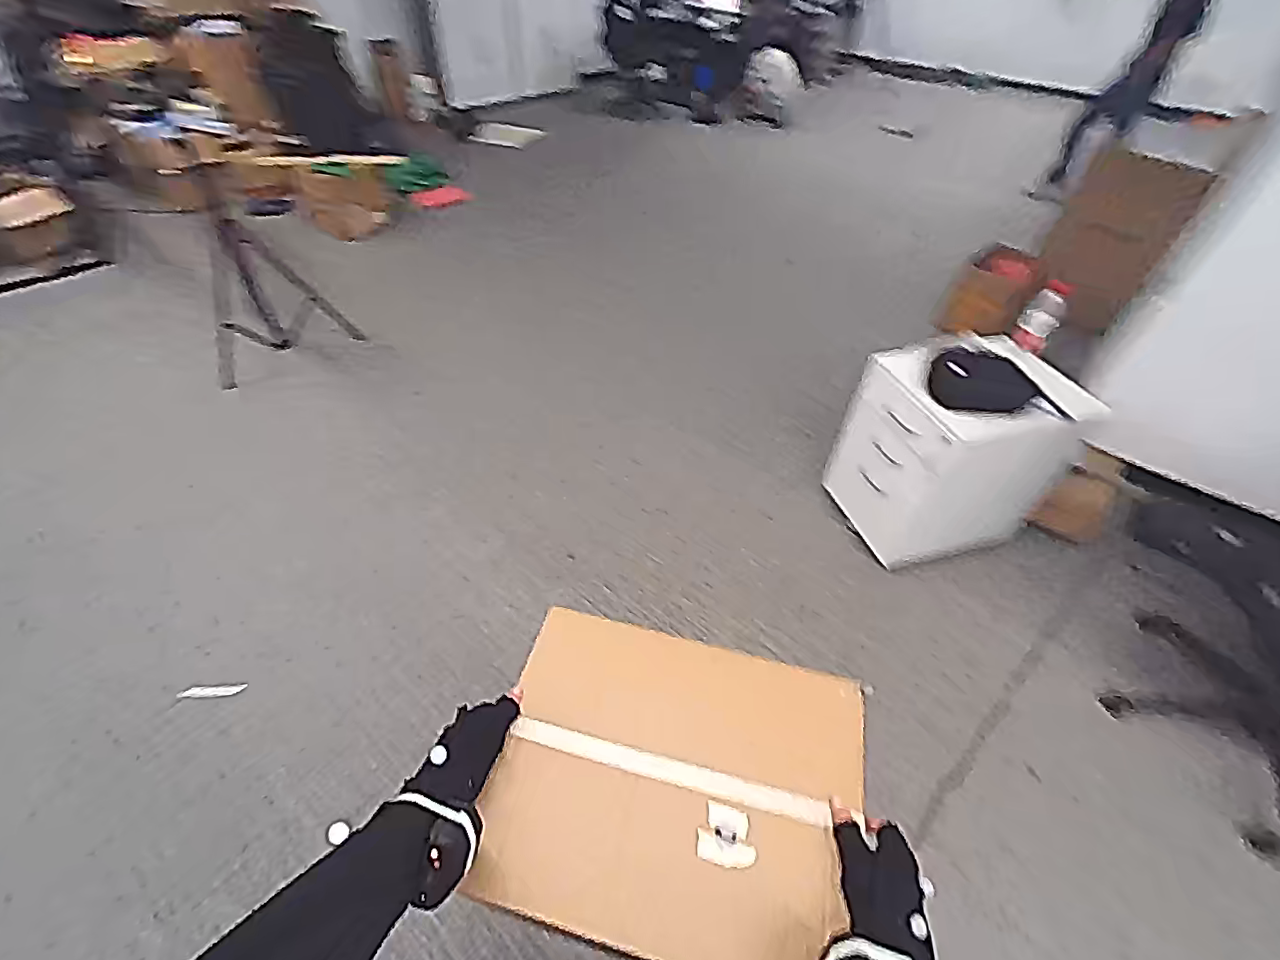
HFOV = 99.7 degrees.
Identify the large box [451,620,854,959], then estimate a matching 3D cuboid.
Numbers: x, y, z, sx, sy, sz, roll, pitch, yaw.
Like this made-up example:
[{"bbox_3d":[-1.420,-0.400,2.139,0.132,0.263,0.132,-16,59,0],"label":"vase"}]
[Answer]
[{"bbox_3d":[0.030,0.434,0.721,0.408,0.320,0.320,11,48,8],"label":"large box"}]
